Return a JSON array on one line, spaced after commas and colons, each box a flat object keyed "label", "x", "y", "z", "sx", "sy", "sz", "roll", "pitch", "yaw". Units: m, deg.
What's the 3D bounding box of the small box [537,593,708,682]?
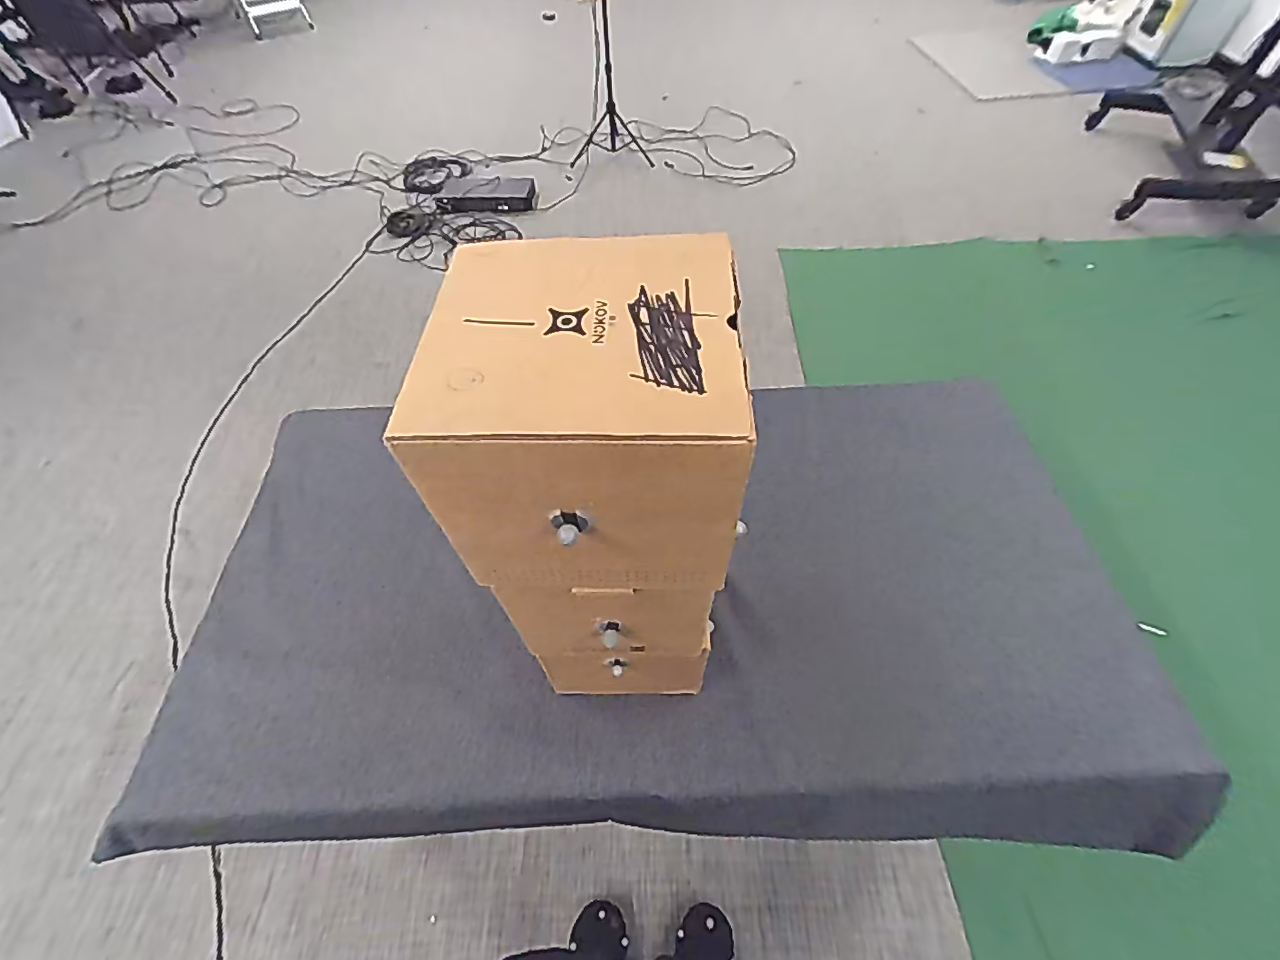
[{"label": "small box", "x": -0.016, "y": 0.139, "z": 0.651, "sx": 0.179, "sy": 0.176, "sz": 0.168, "roll": 0, "pitch": 56, "yaw": 1}]

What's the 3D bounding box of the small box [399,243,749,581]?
[{"label": "small box", "x": -0.028, "y": -0.039, "z": 0.374, "sx": 0.179, "sy": 0.176, "sz": 0.168, "roll": 0, "pitch": 55, "yaw": 3}]

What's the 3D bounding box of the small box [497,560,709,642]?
[{"label": "small box", "x": -0.024, "y": 0.047, "z": 0.515, "sx": 0.168, "sy": 0.176, "sz": 0.179, "roll": 0, "pitch": 56, "yaw": 2}]
